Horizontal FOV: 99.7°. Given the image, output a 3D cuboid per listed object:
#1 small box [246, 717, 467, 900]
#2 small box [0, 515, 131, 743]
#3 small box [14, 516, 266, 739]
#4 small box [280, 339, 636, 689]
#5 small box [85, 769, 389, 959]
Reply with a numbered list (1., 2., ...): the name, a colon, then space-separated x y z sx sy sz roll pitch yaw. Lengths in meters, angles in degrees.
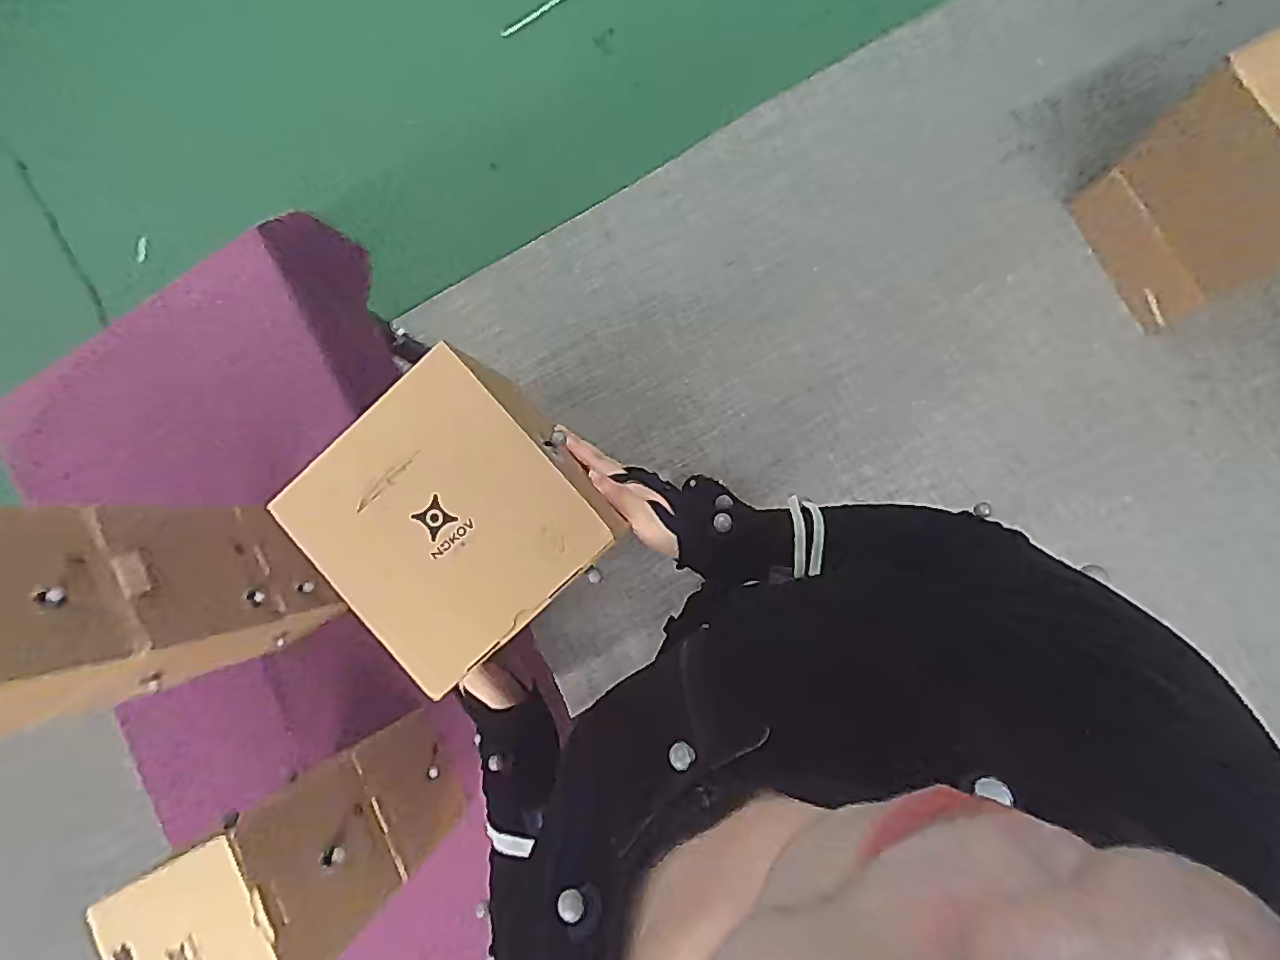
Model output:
1. small box: -0.372 0.457 0.732 0.179 0.176 0.168 -30 83 5
2. small box: -0.607 0.141 0.459 0.179 0.176 0.168 -32 82 4
3. small box: -0.575 0.151 0.618 0.179 0.176 0.168 -32 82 6
4. small box: -0.119 0.021 0.431 0.168 0.176 0.179 -41 87 3
5. small box: -0.399 0.445 0.571 0.179 0.176 0.168 -31 82 4
